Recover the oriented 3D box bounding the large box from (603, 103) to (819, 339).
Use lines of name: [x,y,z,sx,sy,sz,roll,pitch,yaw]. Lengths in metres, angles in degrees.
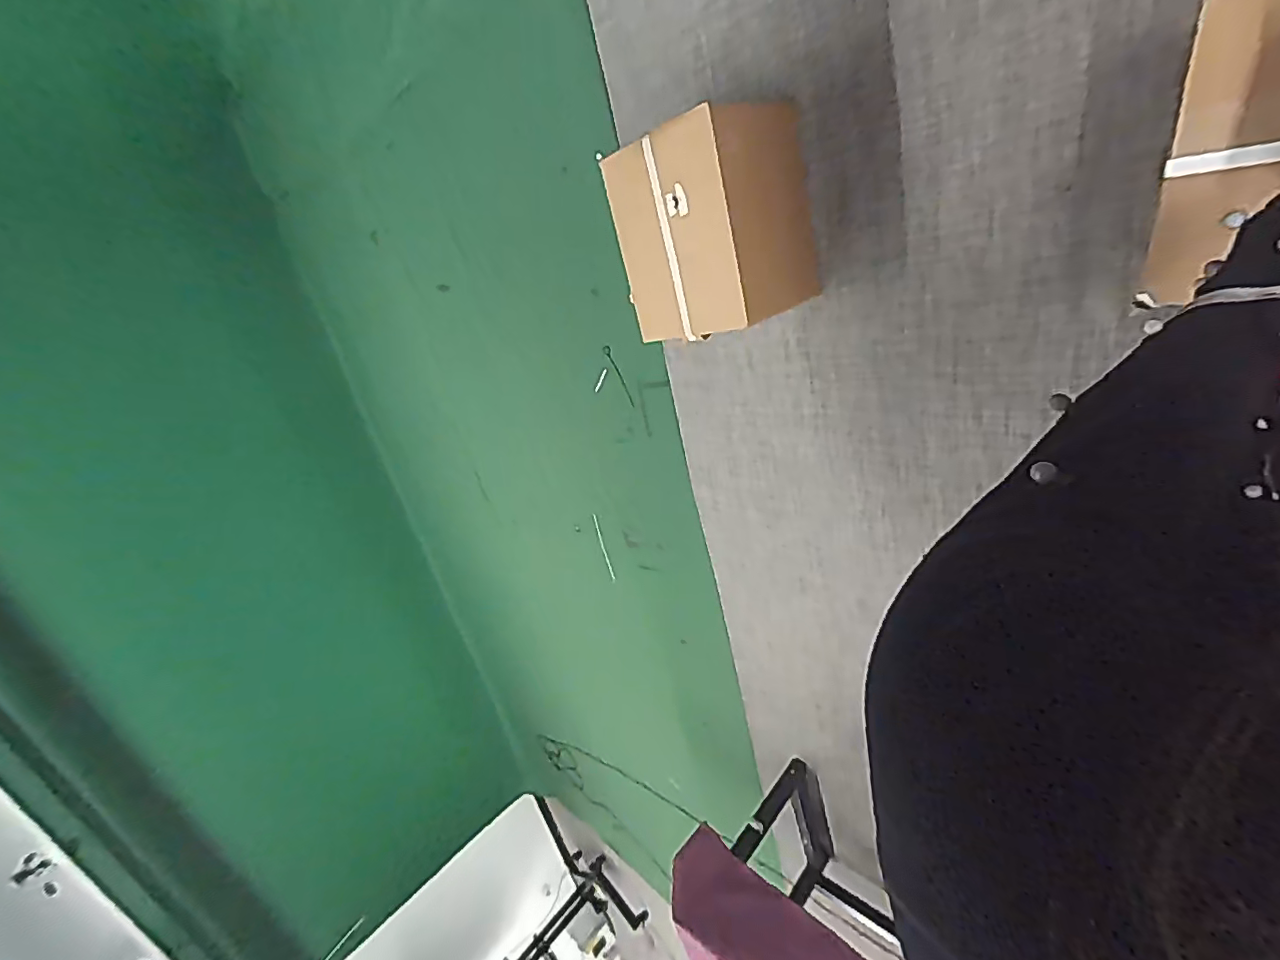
large box: [0.171,-0.565,1.224,0.320,0.320,0.408,8,120,46]
